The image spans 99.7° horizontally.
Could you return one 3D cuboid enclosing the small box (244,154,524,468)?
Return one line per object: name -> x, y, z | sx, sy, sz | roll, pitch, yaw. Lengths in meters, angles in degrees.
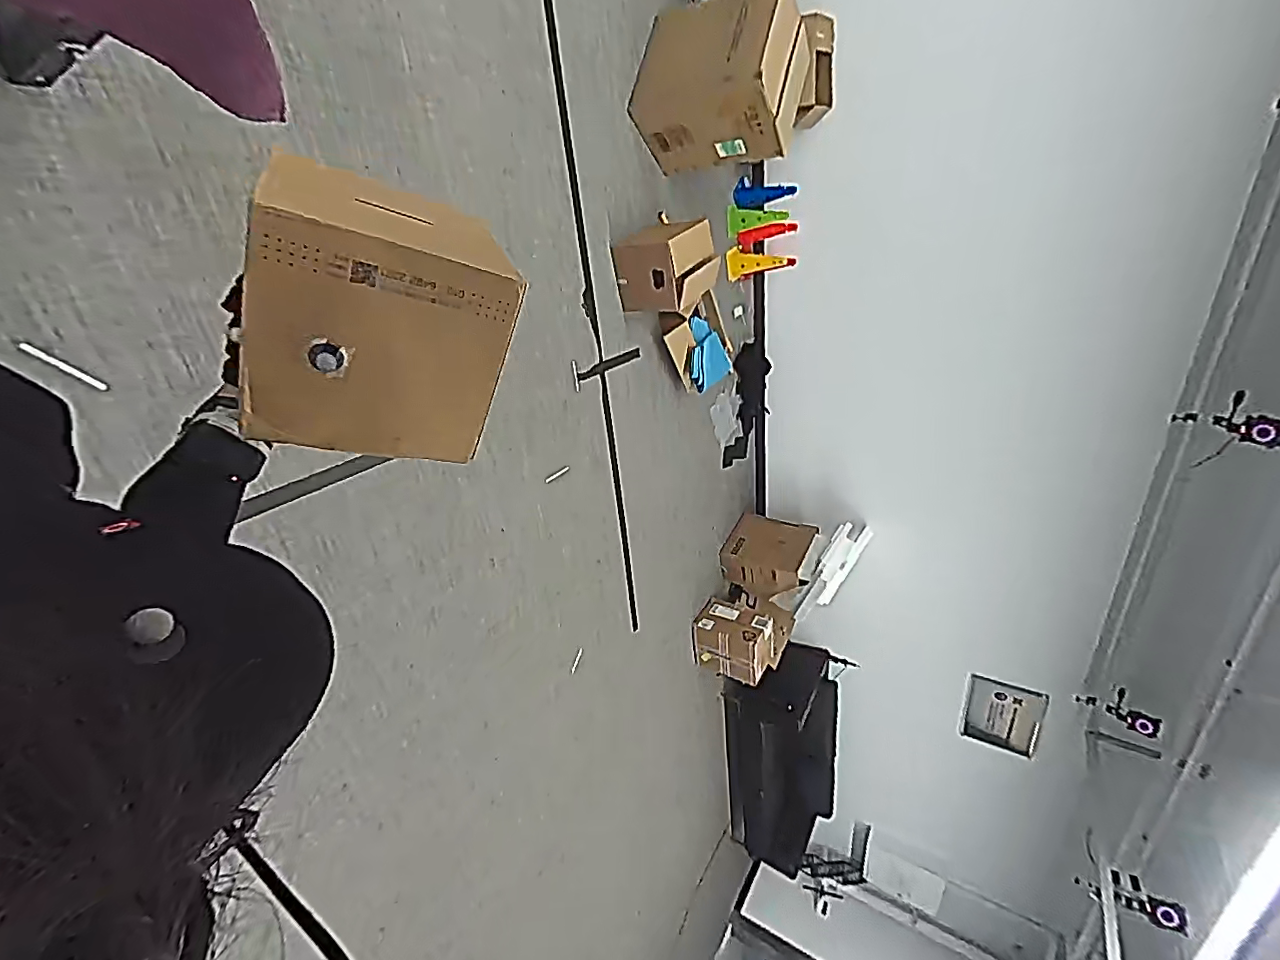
small box -> -0.208, -0.133, 0.436 | 0.168, 0.179, 0.176 | 8, 123, -35
